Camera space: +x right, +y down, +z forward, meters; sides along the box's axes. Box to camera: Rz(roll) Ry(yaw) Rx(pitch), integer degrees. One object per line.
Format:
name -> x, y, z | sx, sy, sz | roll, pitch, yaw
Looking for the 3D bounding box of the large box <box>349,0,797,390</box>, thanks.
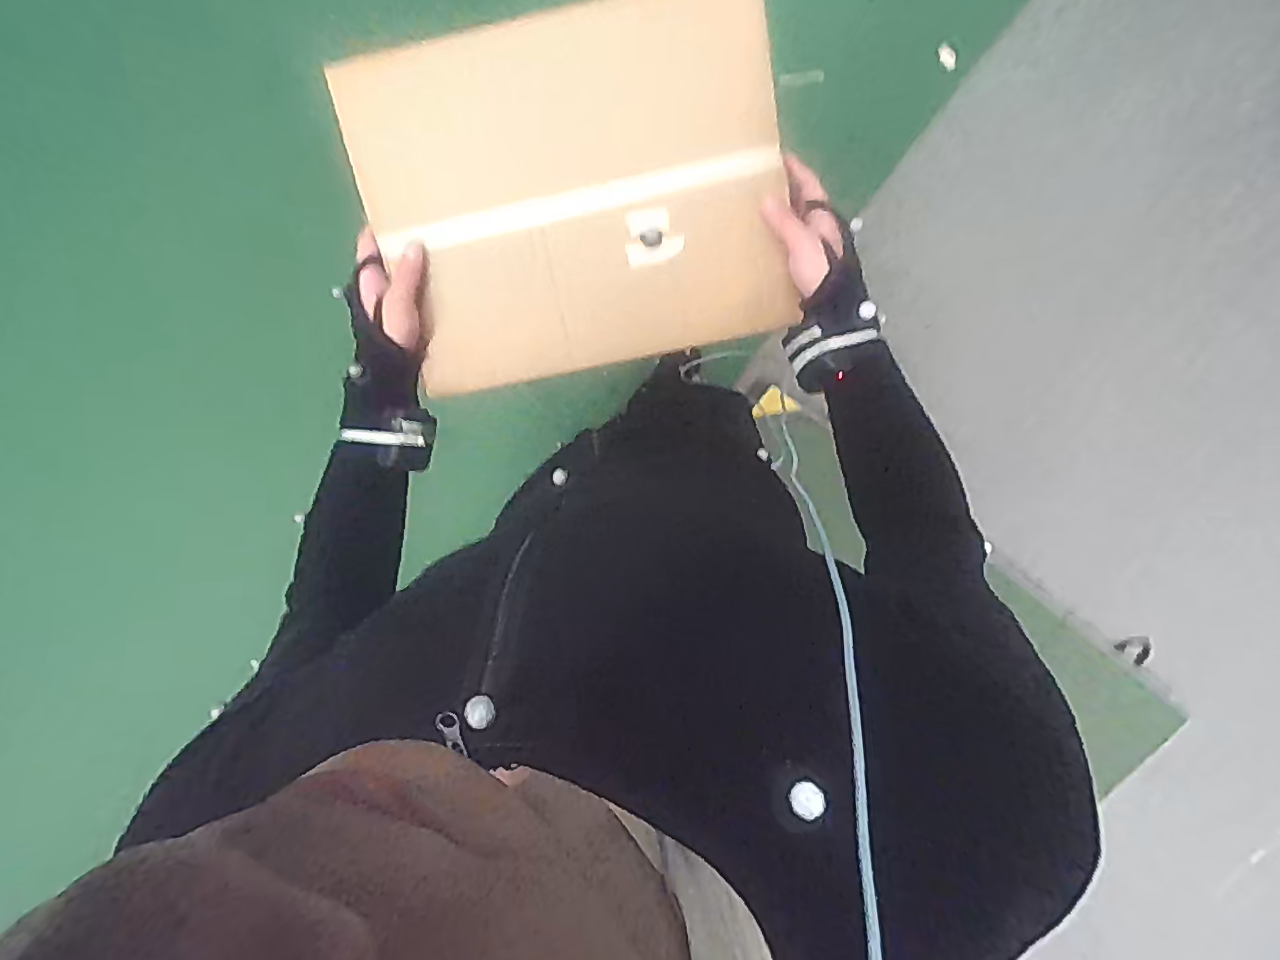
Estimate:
large box -> -0.057, -0.318, 0.683 | 0.408, 0.320, 0.320 | -10, 107, 3
